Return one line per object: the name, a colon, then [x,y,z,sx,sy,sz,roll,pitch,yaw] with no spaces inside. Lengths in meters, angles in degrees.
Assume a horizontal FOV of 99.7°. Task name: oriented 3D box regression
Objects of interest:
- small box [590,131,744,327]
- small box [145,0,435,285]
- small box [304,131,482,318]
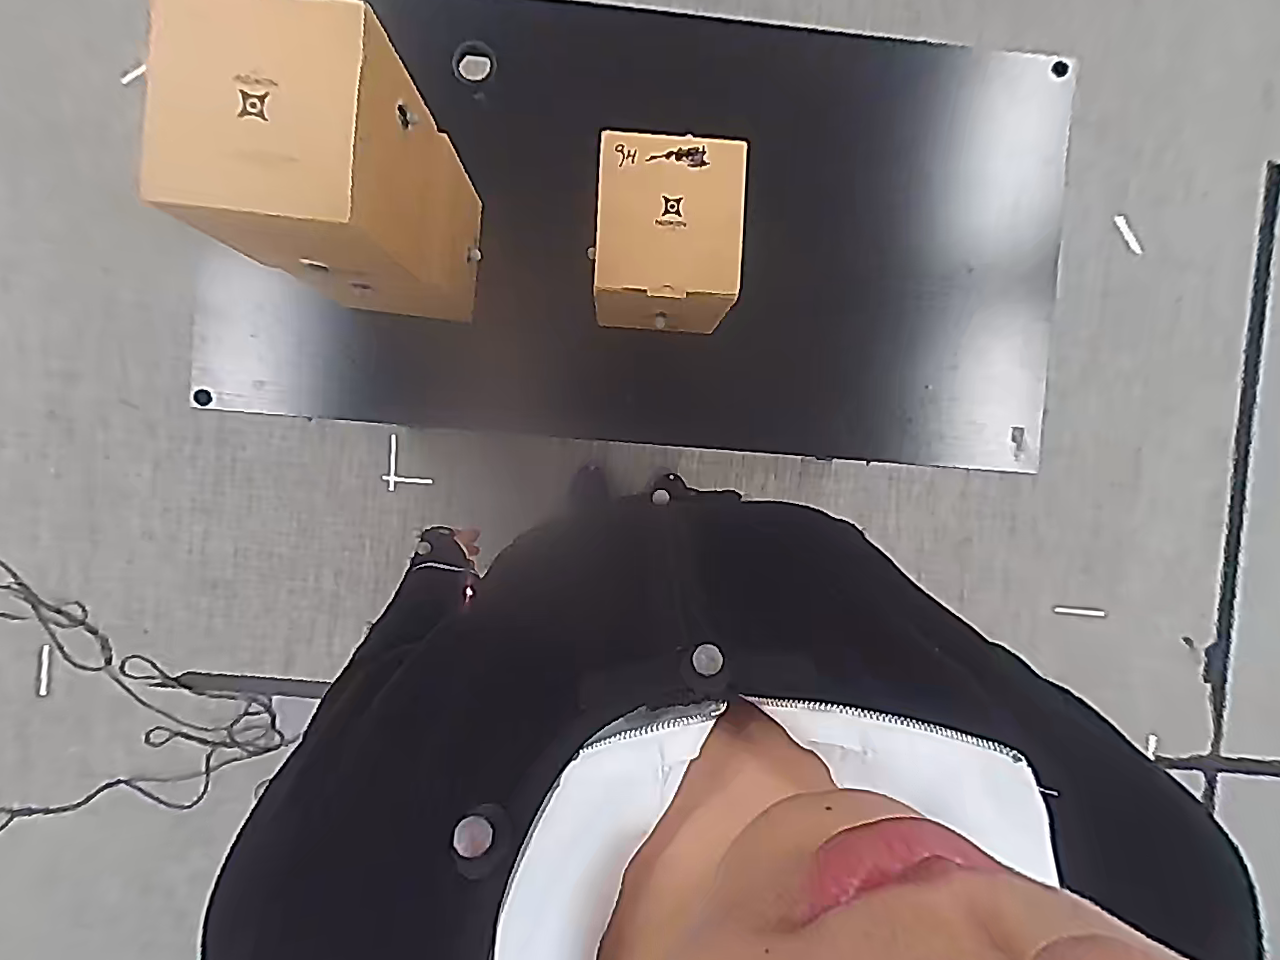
small box: [0.028,-0.301,0.686,0.168,0.176,0.179,3,92,-2]
small box: [-0.304,-0.303,0.507,0.168,0.176,0.179,5,93,-1]
small box: [-0.309,-0.309,0.669,0.179,0.176,0.168,6,92,-4]
